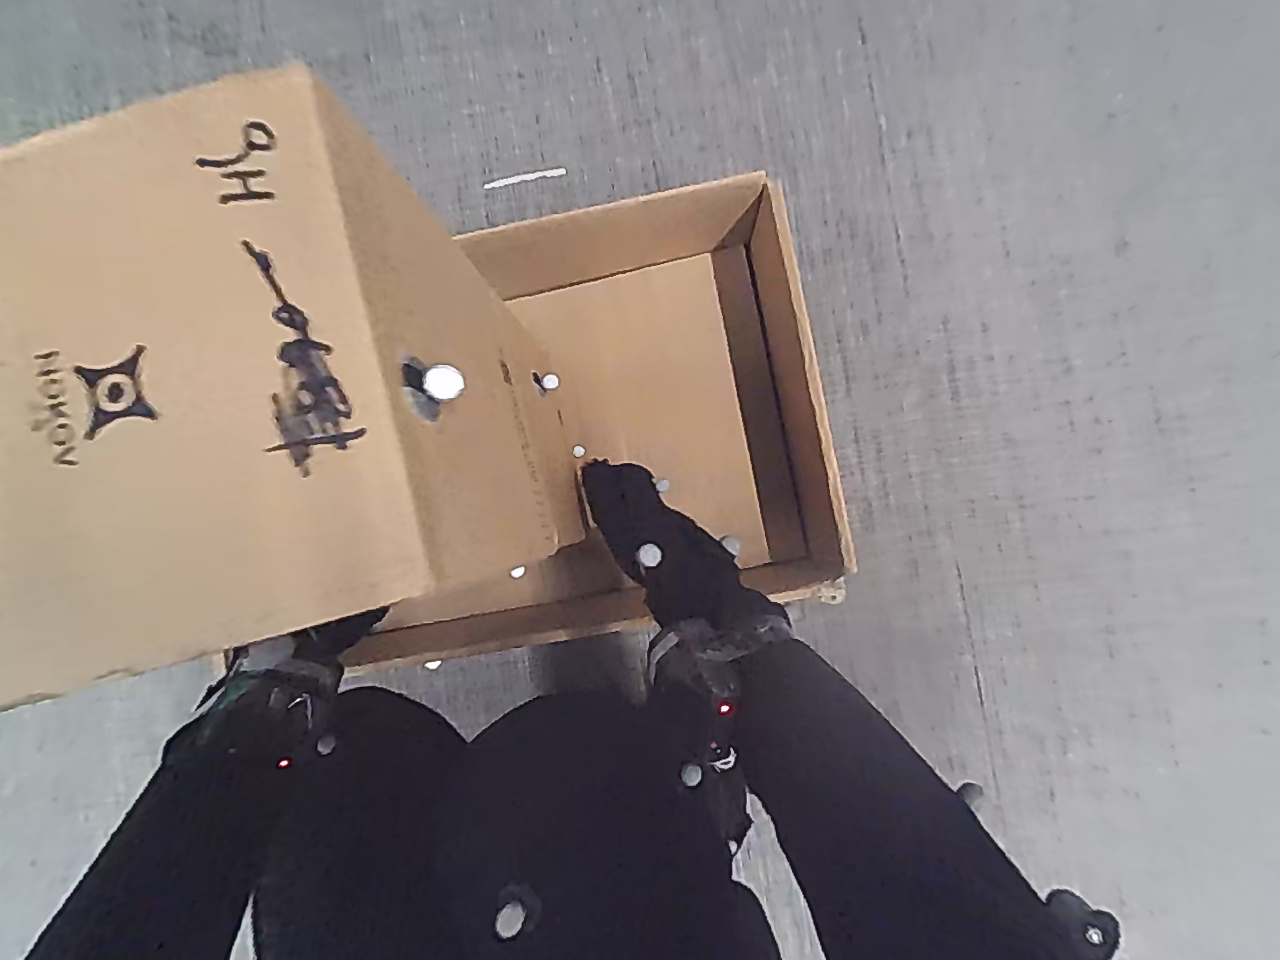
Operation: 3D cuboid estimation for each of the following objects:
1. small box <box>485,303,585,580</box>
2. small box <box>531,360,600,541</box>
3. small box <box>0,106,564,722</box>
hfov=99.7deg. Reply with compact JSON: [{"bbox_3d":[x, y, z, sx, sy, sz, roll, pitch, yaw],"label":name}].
[{"bbox_3d":[-0.146,-0.002,0.396,0.179,0.176,0.168,-18,85,2],"label":"small box"},{"bbox_3d":[-0.144,-0.007,0.573,0.168,0.176,0.179,-11,85,3],"label":"small box"},{"bbox_3d":[-0.153,-0.013,0.251,0.179,0.176,0.168,-19,83,2],"label":"small box"}]
